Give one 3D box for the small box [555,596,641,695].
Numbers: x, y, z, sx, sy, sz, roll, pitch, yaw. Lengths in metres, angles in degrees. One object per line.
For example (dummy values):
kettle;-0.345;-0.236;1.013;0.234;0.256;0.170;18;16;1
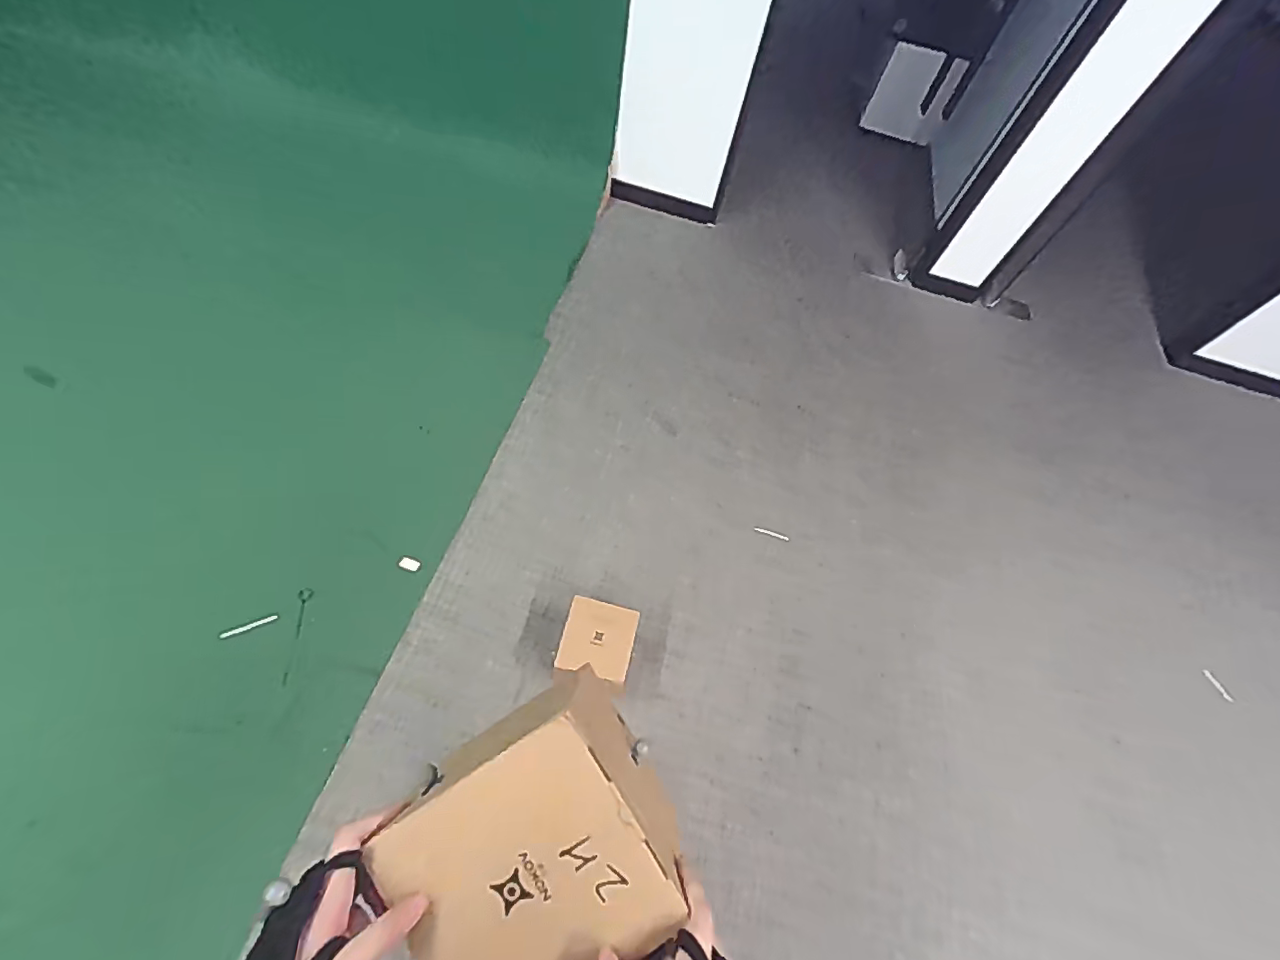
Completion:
small box;-0.105;0.413;1.331;0.168;0.176;0.179;16;58;-1
